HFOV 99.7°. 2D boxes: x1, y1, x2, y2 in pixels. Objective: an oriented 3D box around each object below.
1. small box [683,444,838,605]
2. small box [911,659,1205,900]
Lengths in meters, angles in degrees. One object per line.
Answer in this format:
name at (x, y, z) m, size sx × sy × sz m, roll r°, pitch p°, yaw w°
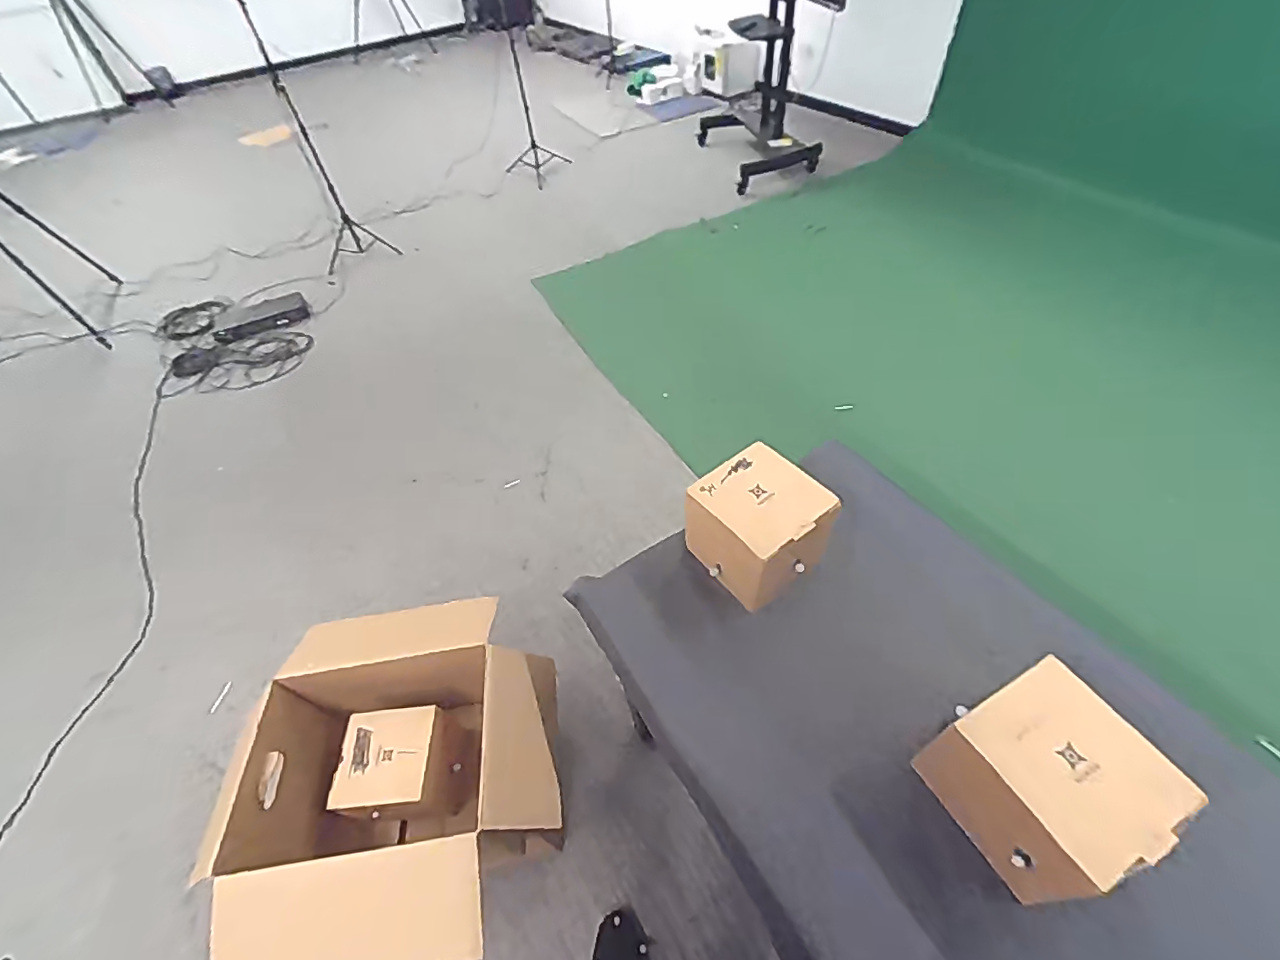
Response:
small box at (0.188, 0.080, 0.888) m, size 0.168 × 0.176 × 0.179 m, roll -31°, pitch 54°, yaw -20°
small box at (0.459, 0.349, 0.628) m, size 0.168 × 0.176 × 0.179 m, roll -24°, pitch 50°, yaw -16°
